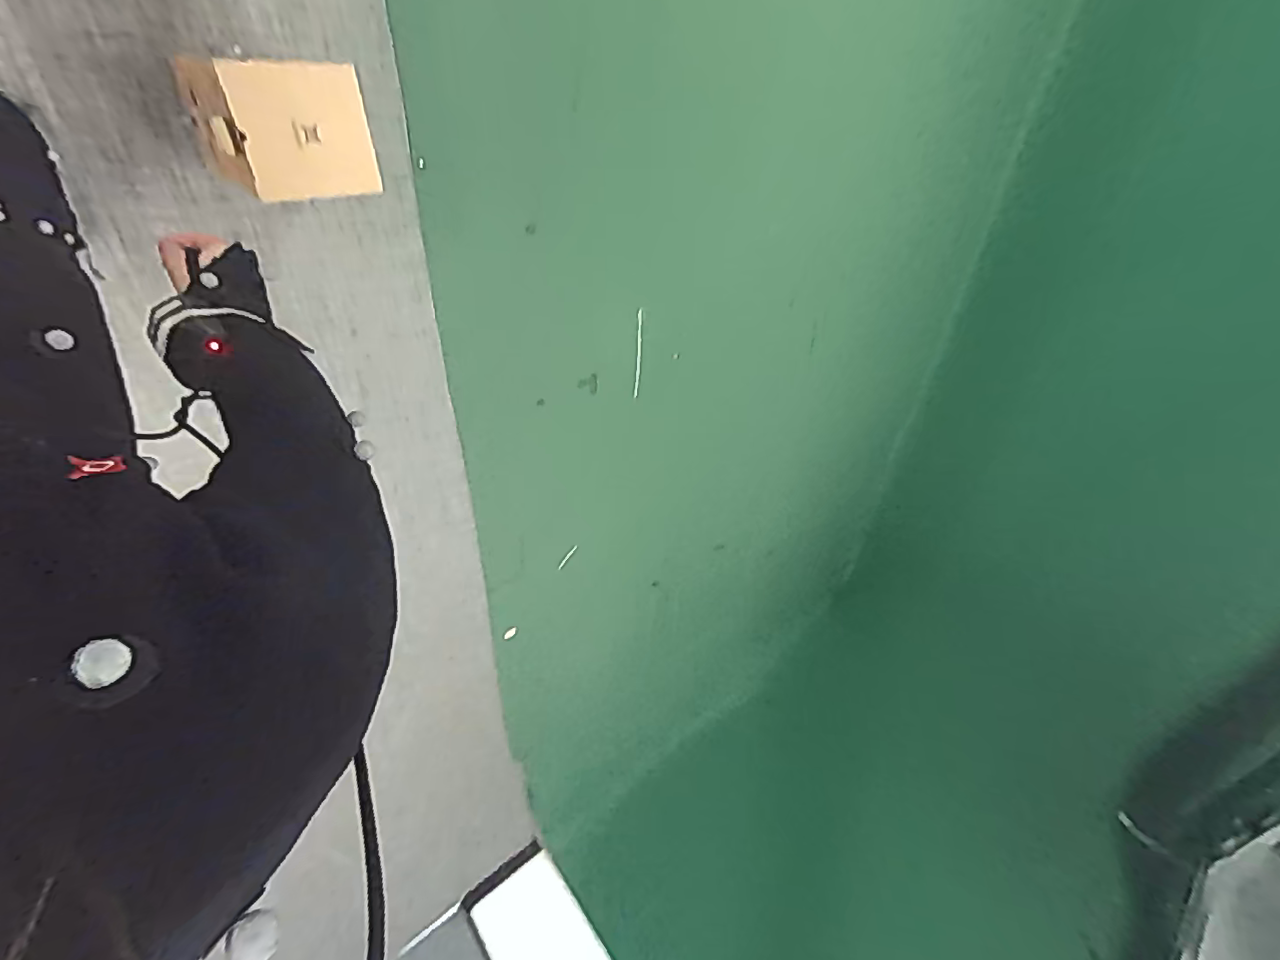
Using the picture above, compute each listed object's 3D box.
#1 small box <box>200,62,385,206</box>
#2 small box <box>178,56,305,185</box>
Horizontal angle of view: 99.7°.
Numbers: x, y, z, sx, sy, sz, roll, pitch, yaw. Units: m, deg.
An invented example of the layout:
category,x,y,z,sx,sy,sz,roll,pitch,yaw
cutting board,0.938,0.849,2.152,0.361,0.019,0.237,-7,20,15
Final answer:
category,x,y,z,sx,sy,sz,roll,pitch,yaw
small box,-0.522,-0.528,0.821,0.179,0.176,0.168,-26,134,-31
small box,-0.641,-0.600,0.911,0.179,0.176,0.168,-24,132,-32
